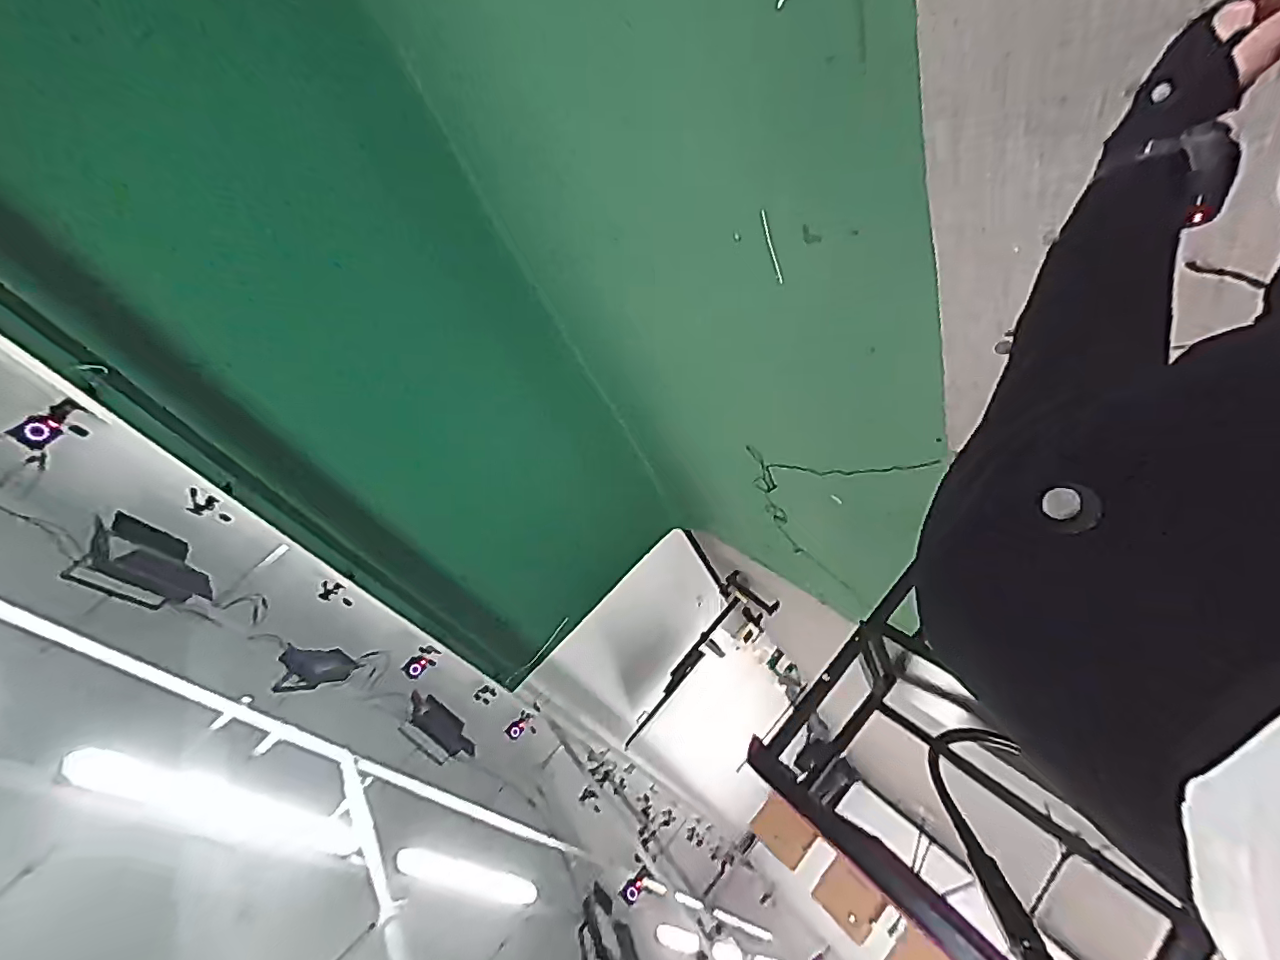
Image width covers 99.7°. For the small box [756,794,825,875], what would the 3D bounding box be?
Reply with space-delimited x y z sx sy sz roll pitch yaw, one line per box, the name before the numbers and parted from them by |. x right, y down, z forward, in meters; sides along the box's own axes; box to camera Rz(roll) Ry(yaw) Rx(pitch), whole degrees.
small box | 0.563 1.302 1.989 0.179 0.176 0.168 31 159 44
